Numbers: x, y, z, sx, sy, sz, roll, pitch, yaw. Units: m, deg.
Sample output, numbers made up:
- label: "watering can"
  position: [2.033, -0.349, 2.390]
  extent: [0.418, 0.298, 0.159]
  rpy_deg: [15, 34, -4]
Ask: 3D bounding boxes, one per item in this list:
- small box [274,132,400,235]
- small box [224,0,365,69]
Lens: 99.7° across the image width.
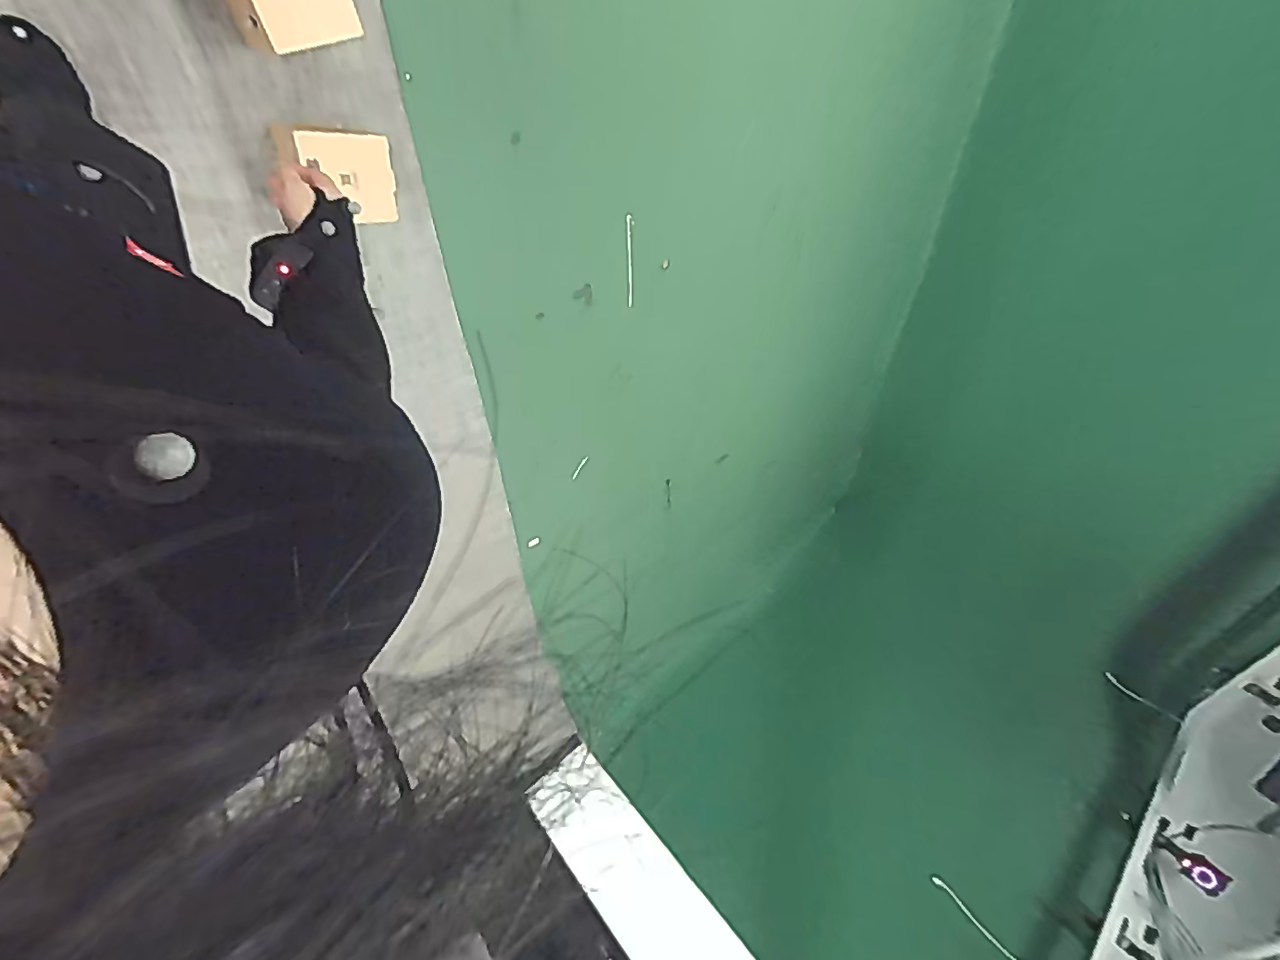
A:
- label: "small box"
  position: [-0.640, -0.632, 1.151]
  extent: [0.179, 0.176, 0.168]
  rpy_deg: [-23, 135, -36]
- label: "small box"
  position: [-0.635, -0.863, 0.965]
  extent: [0.168, 0.176, 0.179]
  rpy_deg: [-36, 141, -24]
